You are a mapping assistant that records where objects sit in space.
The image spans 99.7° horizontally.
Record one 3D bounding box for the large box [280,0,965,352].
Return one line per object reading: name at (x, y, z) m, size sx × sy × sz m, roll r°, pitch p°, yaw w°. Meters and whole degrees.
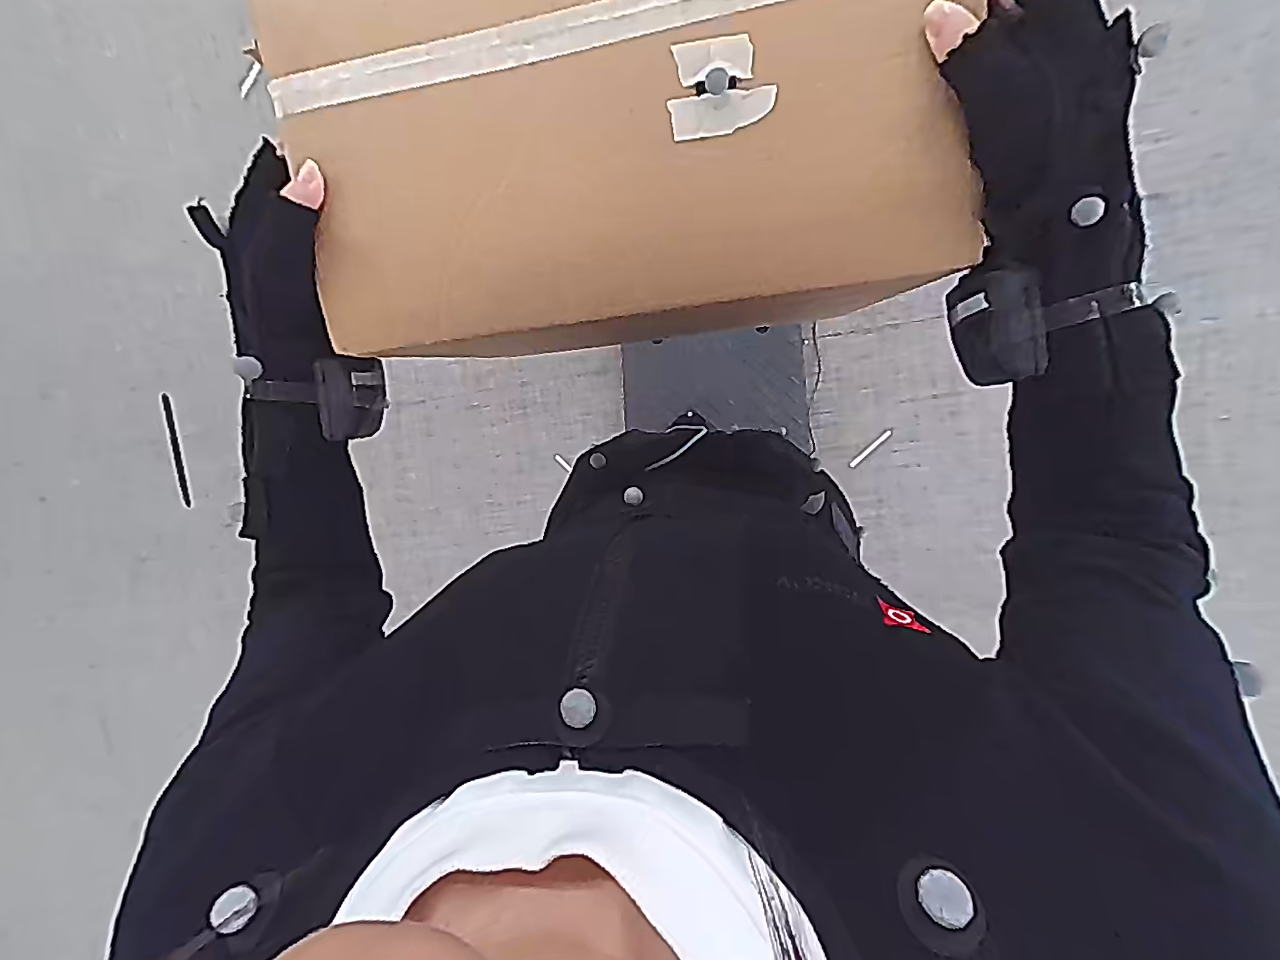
large box at (-0.007, -0.295, 0.463) m, size 0.408 × 0.320 × 0.320 m, roll -6°, pitch 102°, yaw 9°
